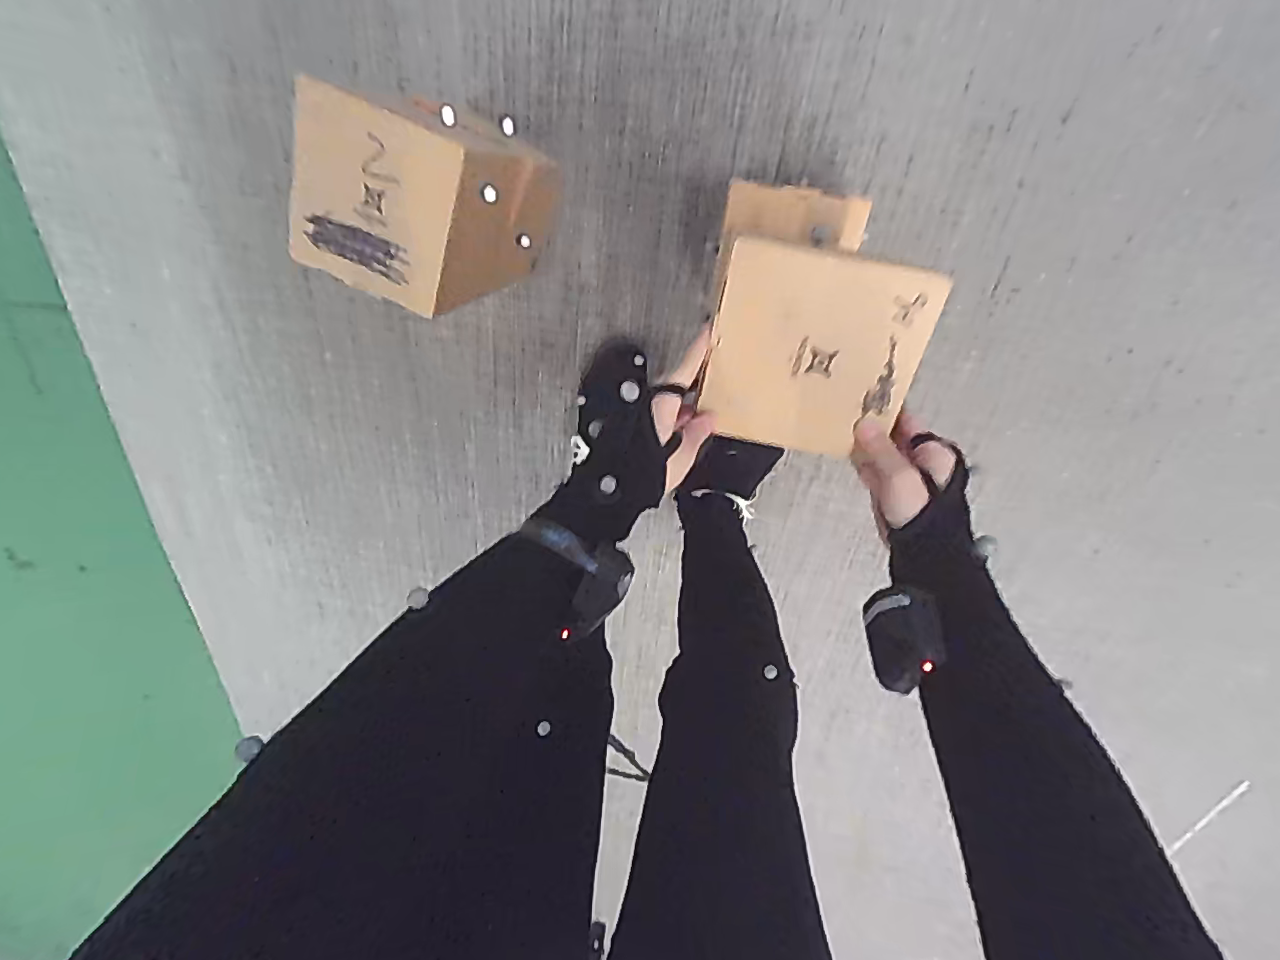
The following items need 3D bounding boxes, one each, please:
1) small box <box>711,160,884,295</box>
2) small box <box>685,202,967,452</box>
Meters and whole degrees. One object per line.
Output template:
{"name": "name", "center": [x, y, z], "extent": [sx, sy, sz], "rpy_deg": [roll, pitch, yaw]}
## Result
{"name": "small box", "center": [0.193, -0.307, 0.710], "extent": [0.168, 0.176, 0.179], "rpy_deg": [12, 120, 4]}
{"name": "small box", "center": [0.151, -0.150, 0.505], "extent": [0.179, 0.176, 0.168], "rpy_deg": [14, 120, 2]}
